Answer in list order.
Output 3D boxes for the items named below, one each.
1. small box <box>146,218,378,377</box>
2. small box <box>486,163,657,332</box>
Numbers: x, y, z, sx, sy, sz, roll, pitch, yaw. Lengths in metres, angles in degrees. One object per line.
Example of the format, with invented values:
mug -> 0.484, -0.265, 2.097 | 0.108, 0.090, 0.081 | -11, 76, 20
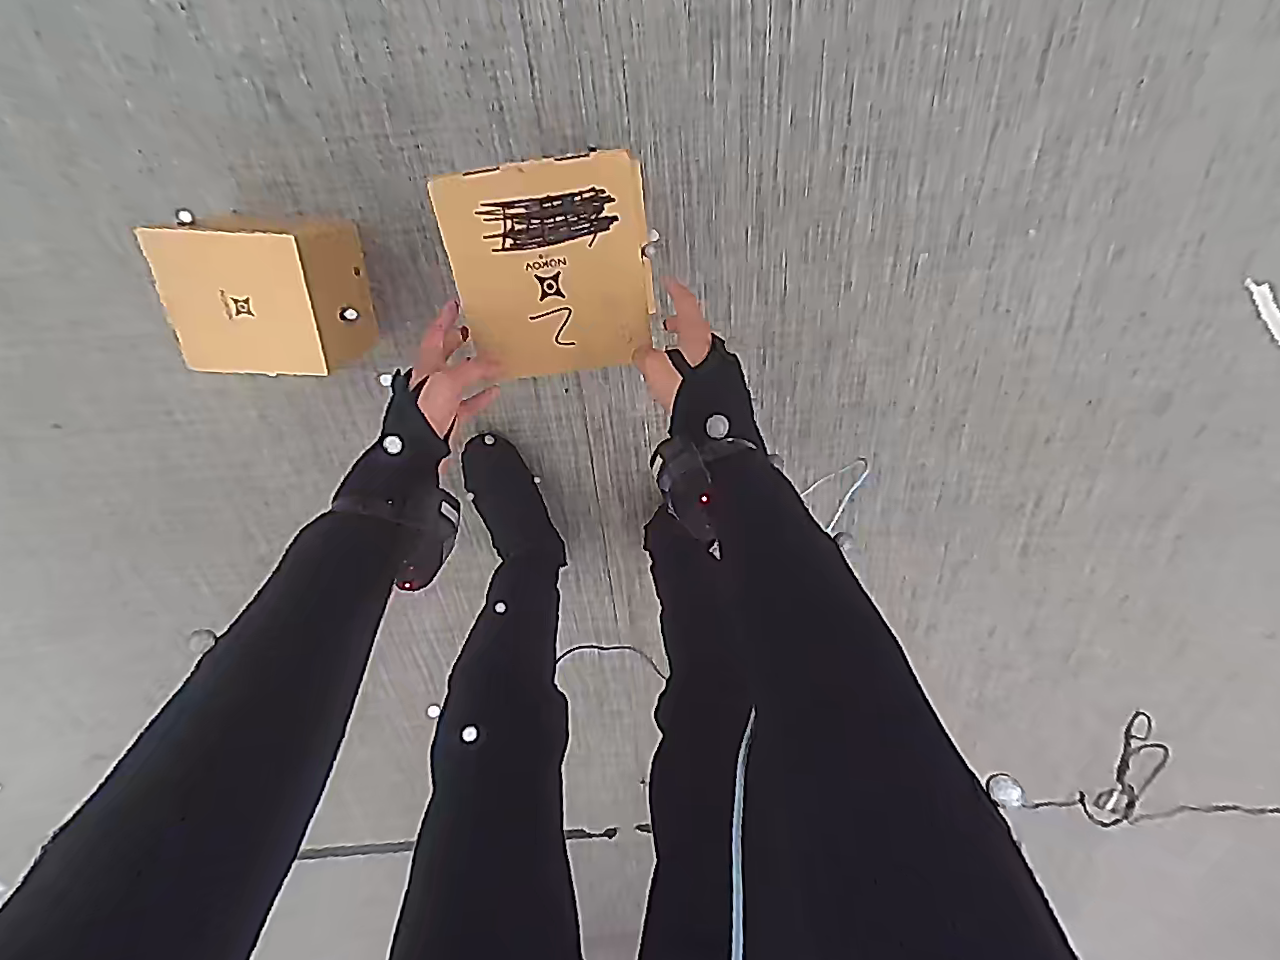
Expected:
small box -> -0.466, -0.244, 0.709 | 0.179, 0.176, 0.168 | 2, 120, -1
small box -> -0.074, -0.297, 0.686 | 0.179, 0.176, 0.168 | -7, 120, 1
